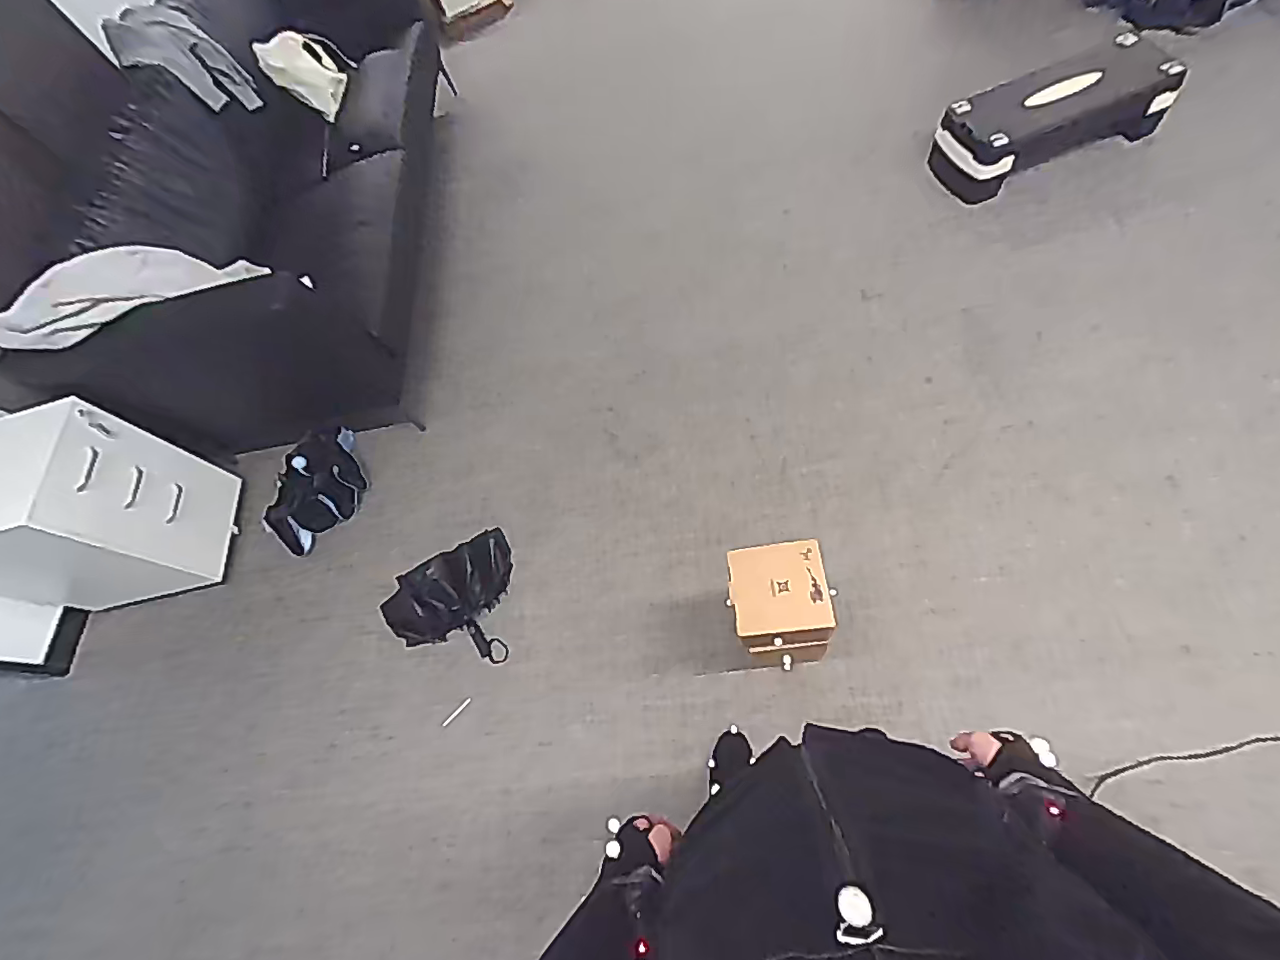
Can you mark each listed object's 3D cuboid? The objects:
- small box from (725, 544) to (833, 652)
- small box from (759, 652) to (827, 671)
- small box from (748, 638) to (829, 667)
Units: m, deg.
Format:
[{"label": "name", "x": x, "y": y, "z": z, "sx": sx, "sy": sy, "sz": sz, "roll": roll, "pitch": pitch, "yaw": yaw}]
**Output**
[{"label": "small box", "x": 0.274, "y": 0.241, "z": 1.071, "sx": 0.179, "sy": 0.176, "sz": 0.168, "roll": -9, "pitch": 64, "yaw": 11}, {"label": "small box", "x": 0.360, "y": 0.374, "z": 1.359, "sx": 0.168, "sy": 0.176, "sz": 0.179, "roll": -12, "pitch": 64, "yaw": 9}, {"label": "small box", "x": 0.316, "y": 0.311, "z": 1.213, "sx": 0.168, "sy": 0.176, "sz": 0.179, "roll": -11, "pitch": 63, "yaw": 10}]
